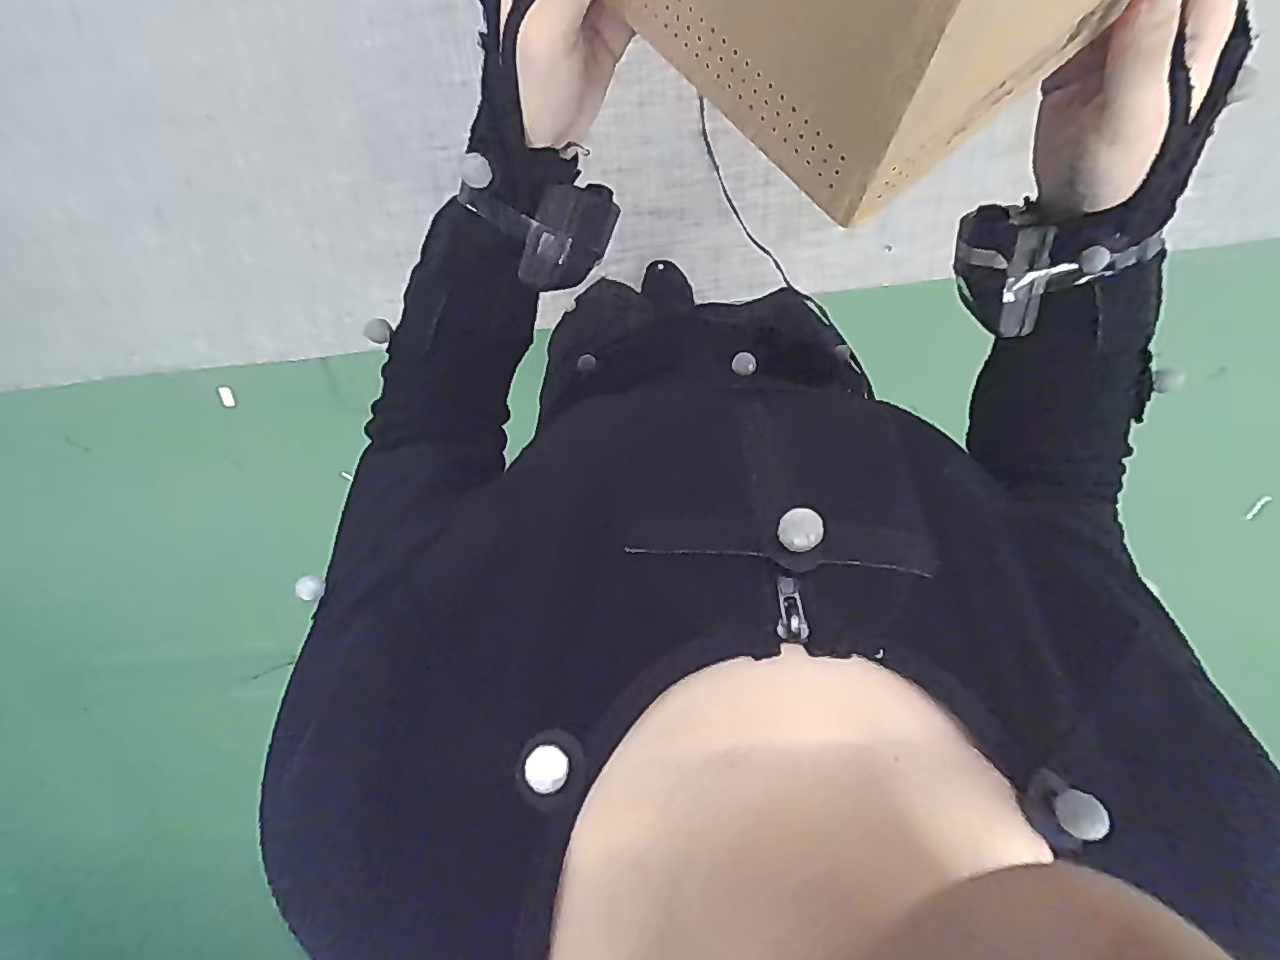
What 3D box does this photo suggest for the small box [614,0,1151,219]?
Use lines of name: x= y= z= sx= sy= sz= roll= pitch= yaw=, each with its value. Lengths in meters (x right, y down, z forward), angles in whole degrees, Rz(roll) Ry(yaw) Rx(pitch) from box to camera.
small box: x=0.089 y=-0.224 z=0.159 sx=0.168 sy=0.176 sz=0.179 roll=-40 pitch=78 yaw=-3
